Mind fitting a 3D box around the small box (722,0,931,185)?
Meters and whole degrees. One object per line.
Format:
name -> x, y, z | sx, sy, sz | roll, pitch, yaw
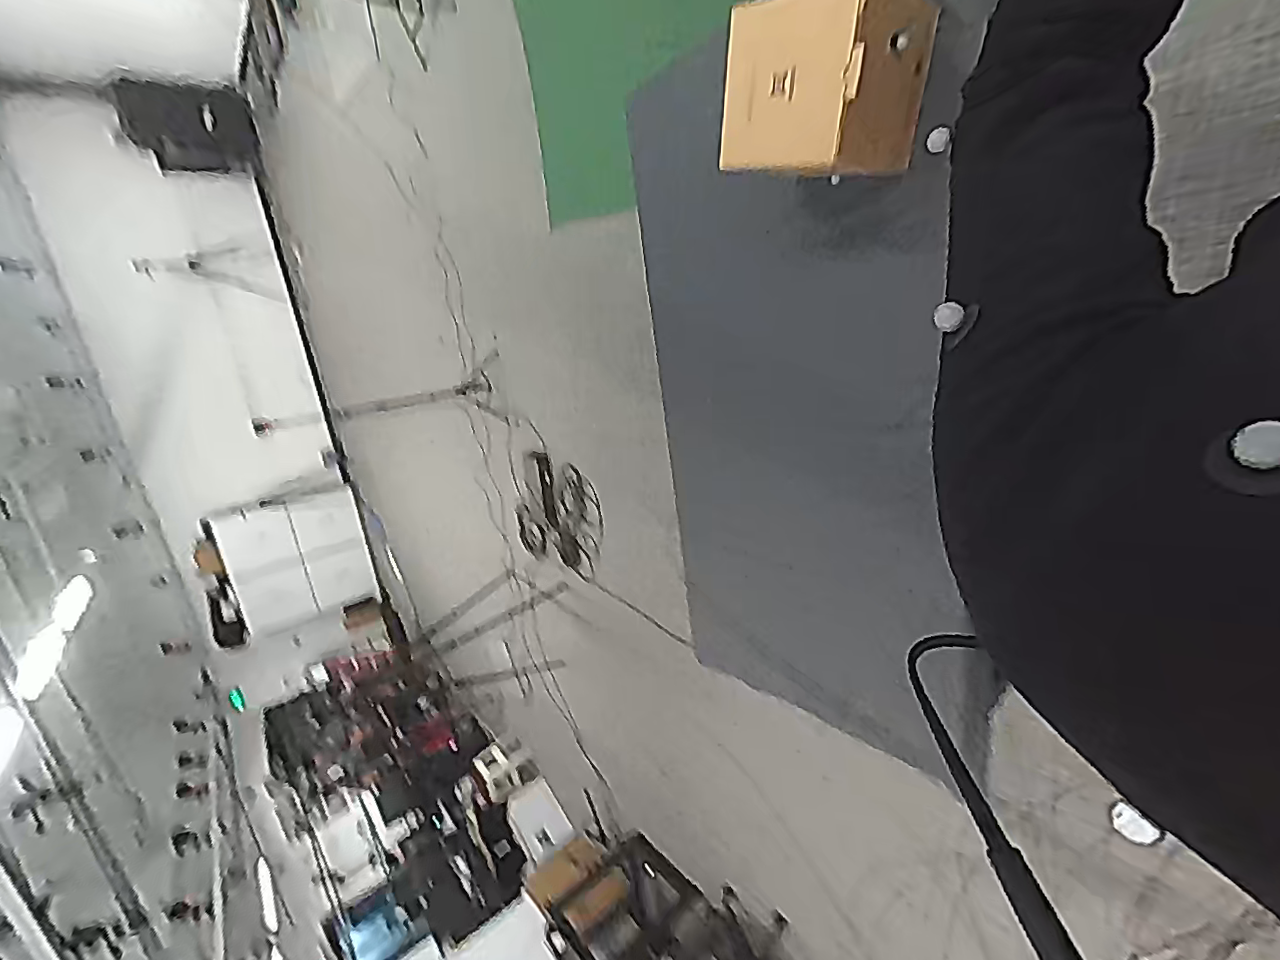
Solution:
small box -> 0.227, -0.468, 0.674 | 0.179, 0.176, 0.168 | 29, 127, 45
